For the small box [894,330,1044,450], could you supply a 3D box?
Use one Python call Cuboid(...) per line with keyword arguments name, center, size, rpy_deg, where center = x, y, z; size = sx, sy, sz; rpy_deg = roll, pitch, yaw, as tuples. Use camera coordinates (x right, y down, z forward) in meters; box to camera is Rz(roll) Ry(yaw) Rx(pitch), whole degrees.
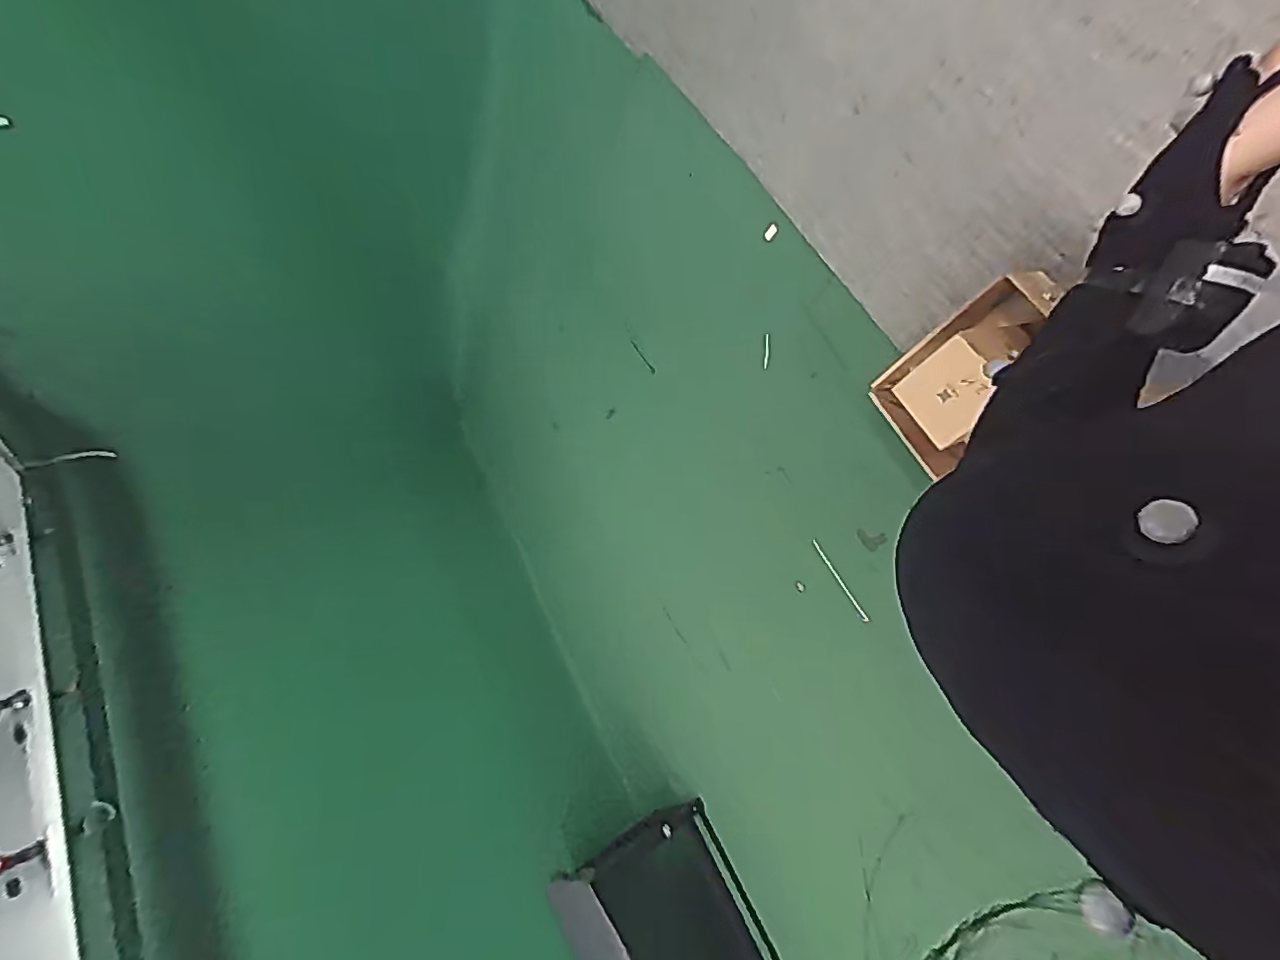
Cuboid(name="small box", center=(0.676, -0.188, 1.115), size=(0.168, 0.176, 0.179), rpy_deg=(60, 142, 17))
